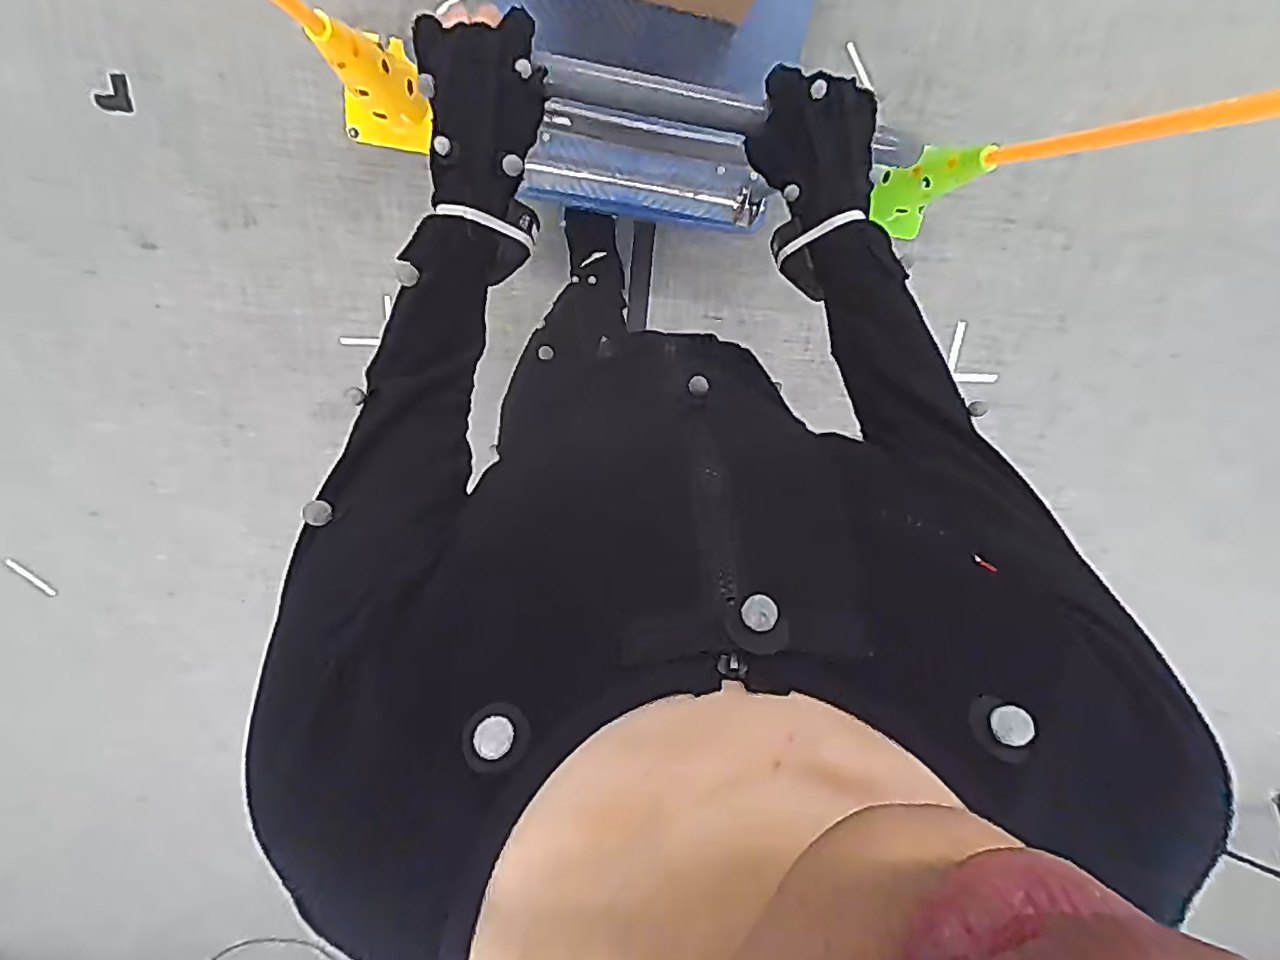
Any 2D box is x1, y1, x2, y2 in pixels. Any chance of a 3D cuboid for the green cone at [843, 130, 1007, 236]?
[{"bbox_3d":[0.610,-0.638,1.123,0.202,0.368,0.200,6,111,-8],"label":"green cone"}]
